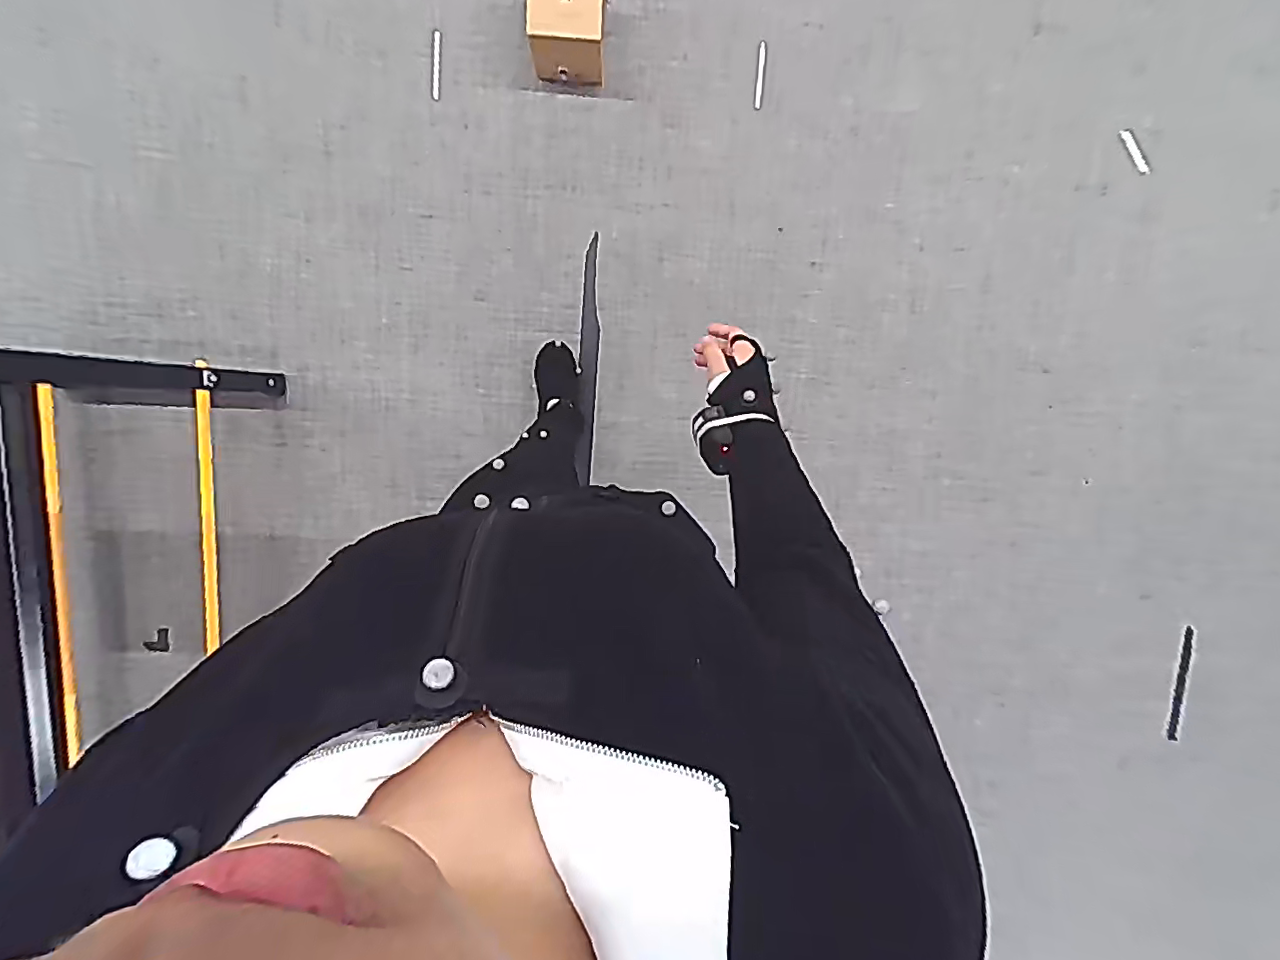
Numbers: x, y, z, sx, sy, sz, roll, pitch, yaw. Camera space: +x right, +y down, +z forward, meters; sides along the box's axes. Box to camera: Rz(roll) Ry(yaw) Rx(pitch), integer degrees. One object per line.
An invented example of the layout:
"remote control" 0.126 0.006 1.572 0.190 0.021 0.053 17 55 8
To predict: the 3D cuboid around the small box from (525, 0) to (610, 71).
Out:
"small box" -0.151 -1.031 1.164 0.168 0.176 0.179 2 99 -2
